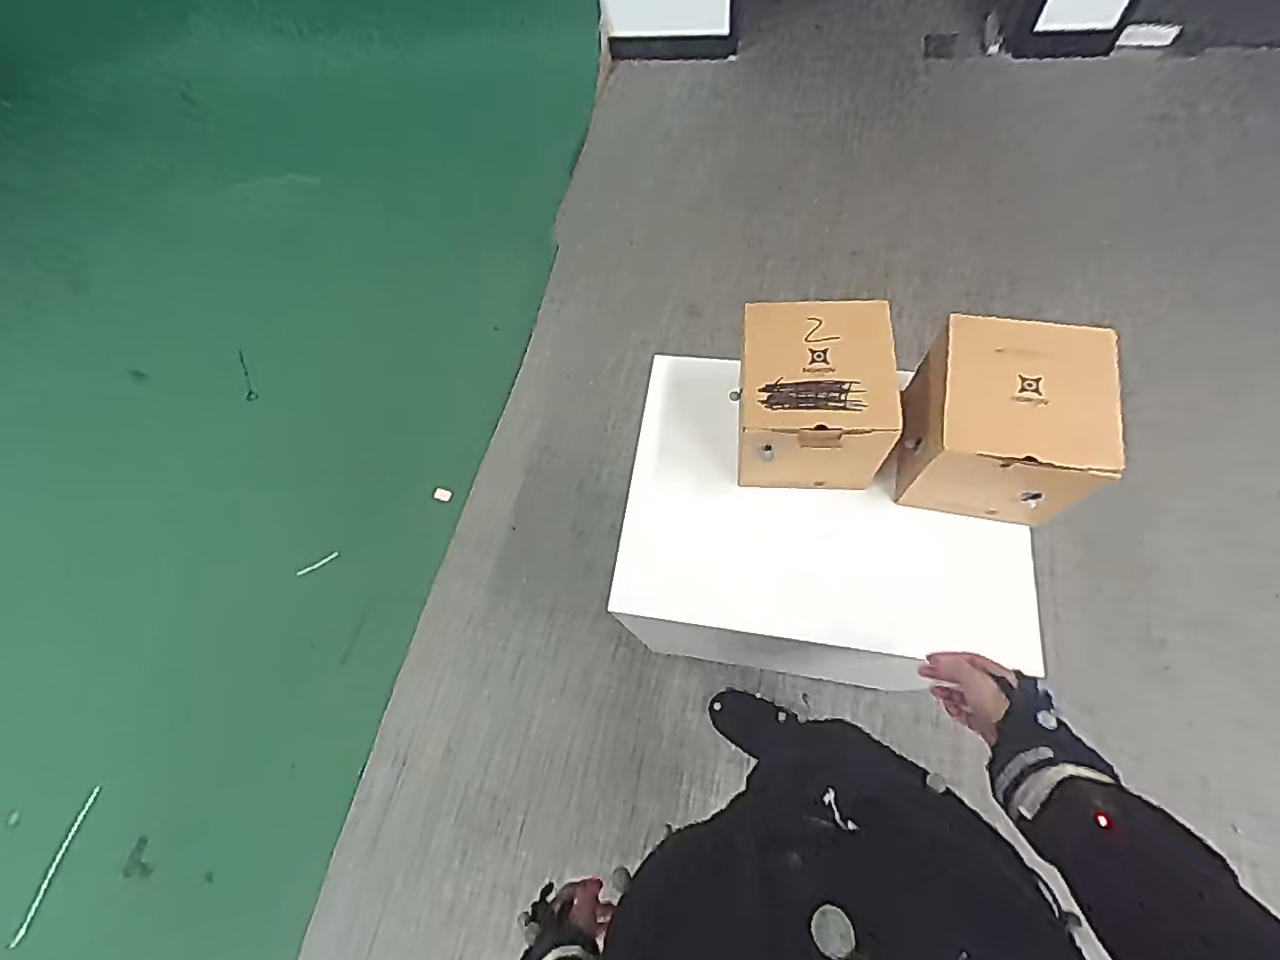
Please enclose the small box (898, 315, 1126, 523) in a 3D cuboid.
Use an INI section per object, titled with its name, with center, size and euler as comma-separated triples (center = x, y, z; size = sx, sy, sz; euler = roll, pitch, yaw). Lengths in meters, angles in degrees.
[small box]
center = 0.416, -0.063, 0.635
size = 0.168, 0.176, 0.179
euler = 10, 69, 11
